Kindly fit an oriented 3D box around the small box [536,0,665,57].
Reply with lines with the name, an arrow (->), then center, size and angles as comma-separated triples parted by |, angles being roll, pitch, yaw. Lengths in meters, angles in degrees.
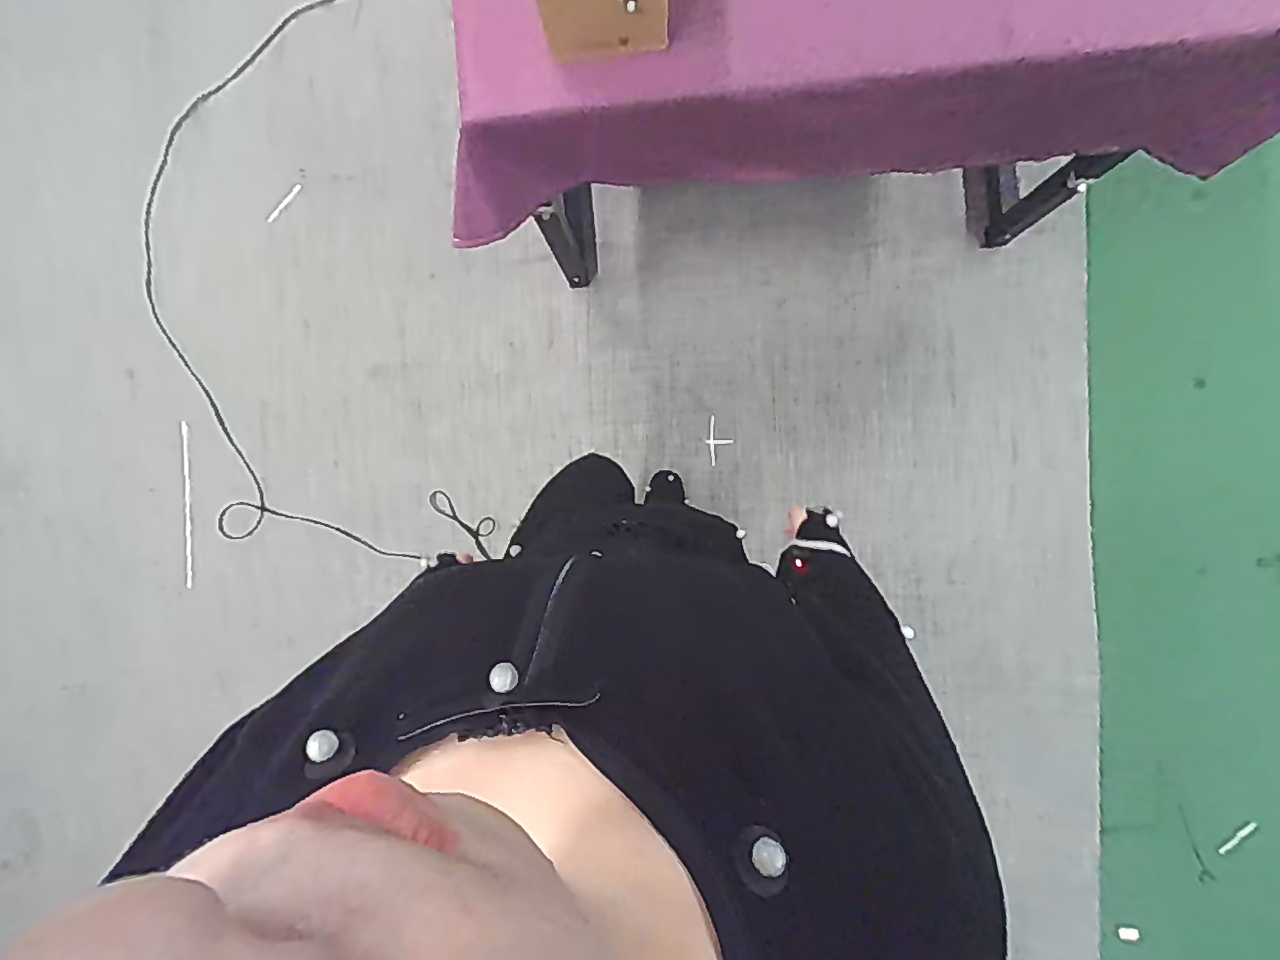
small box -> -0.055, -0.686, 0.694 | 0.168, 0.176, 0.179 | -5, 89, 2
